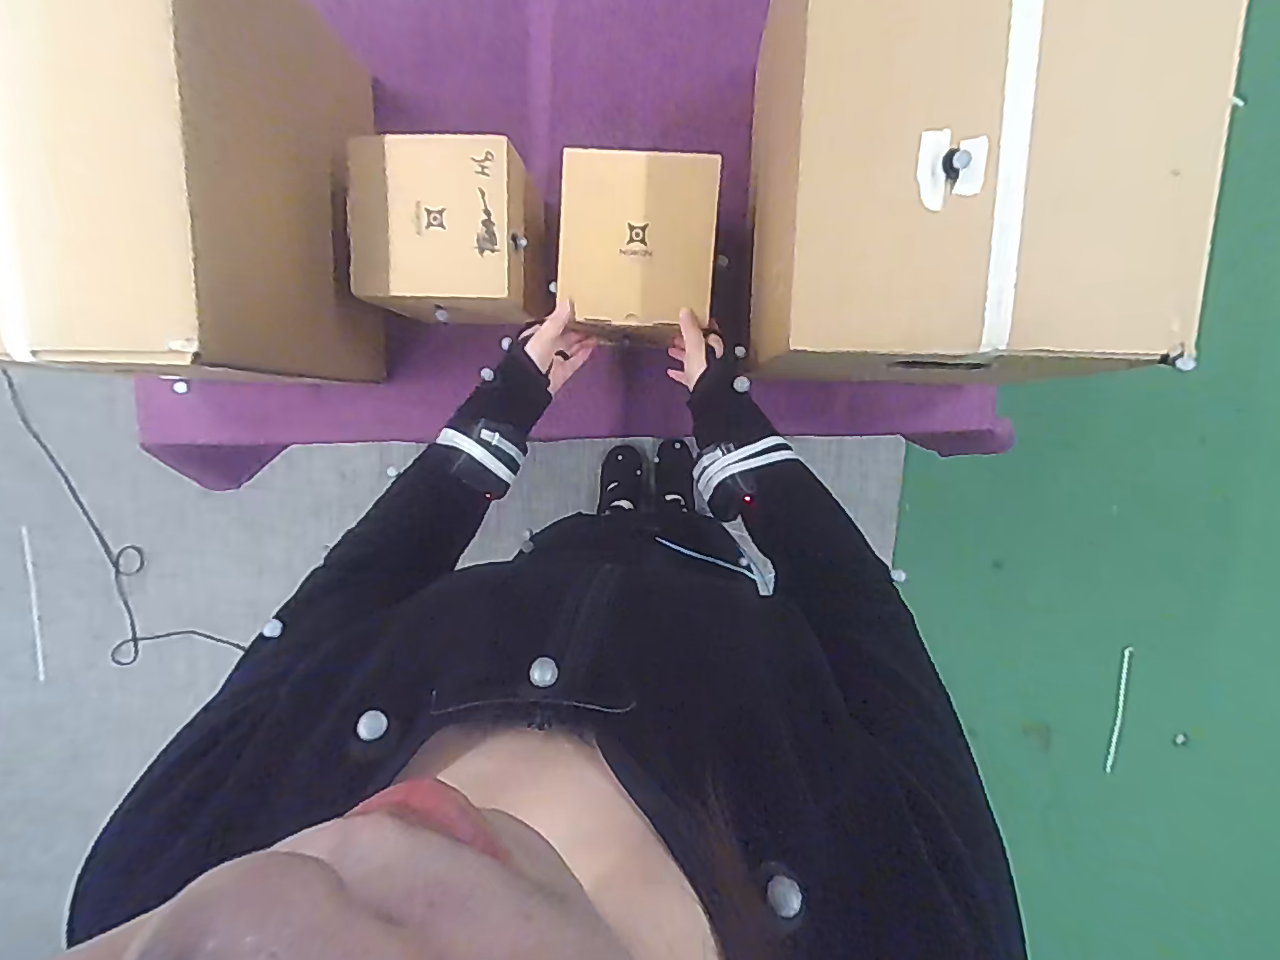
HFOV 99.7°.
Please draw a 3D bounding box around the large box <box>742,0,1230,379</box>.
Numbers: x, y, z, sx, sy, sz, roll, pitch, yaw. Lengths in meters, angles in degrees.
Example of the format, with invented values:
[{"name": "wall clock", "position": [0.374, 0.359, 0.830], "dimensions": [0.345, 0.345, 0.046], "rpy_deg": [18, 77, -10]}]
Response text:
[{"name": "large box", "position": [0.292, -0.321, 0.565], "dimensions": [0.320, 0.320, 0.408], "rpy_deg": [3, 98, 2]}]
